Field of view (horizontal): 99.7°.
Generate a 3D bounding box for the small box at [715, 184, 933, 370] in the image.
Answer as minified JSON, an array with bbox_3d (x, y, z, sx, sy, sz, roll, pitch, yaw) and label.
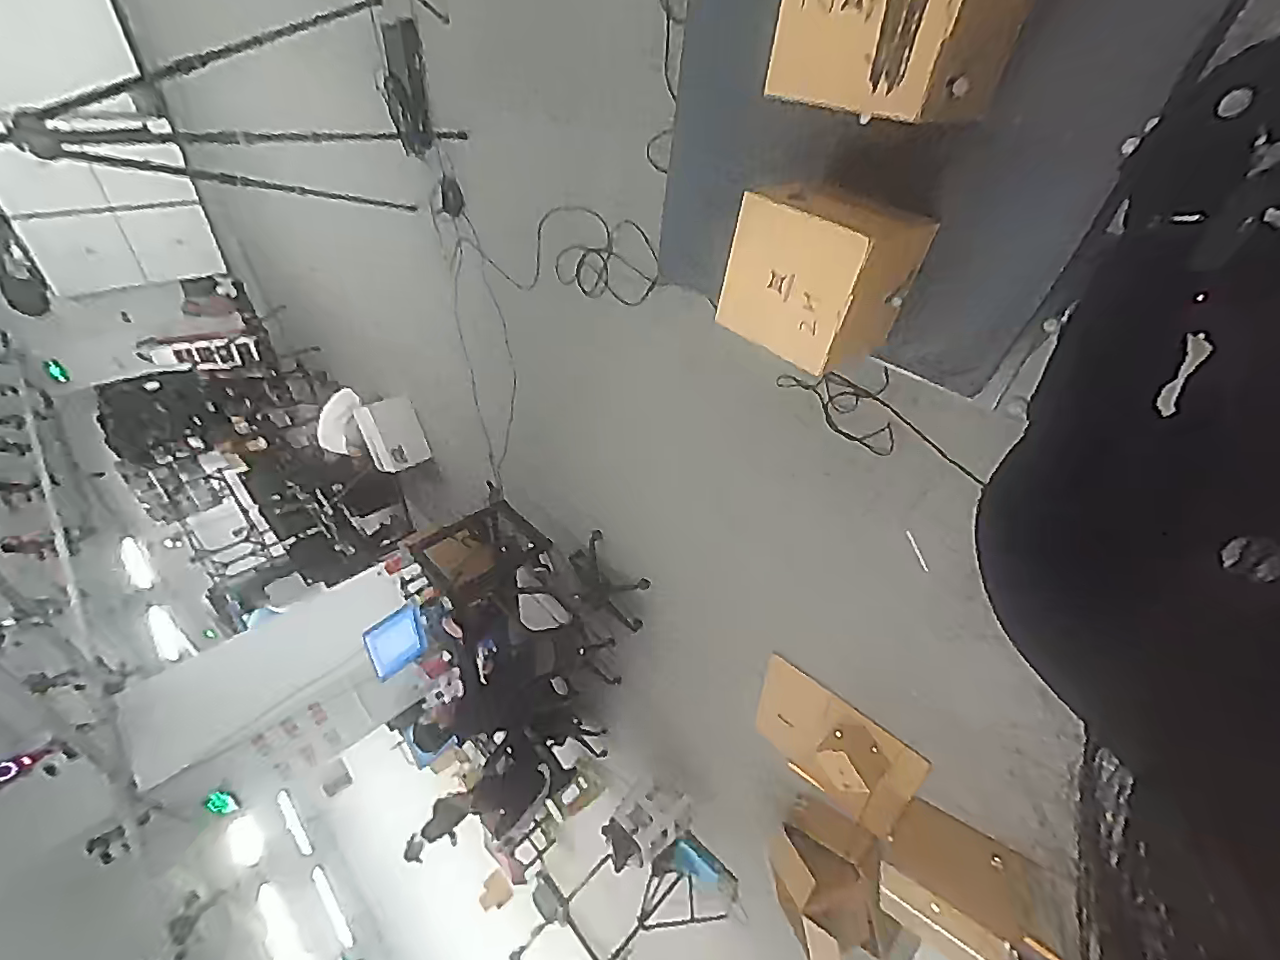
[{"bbox_3d":[0.230,-0.269,0.696,0.179,0.176,0.168,39,140,30],"label":"small box"}]
